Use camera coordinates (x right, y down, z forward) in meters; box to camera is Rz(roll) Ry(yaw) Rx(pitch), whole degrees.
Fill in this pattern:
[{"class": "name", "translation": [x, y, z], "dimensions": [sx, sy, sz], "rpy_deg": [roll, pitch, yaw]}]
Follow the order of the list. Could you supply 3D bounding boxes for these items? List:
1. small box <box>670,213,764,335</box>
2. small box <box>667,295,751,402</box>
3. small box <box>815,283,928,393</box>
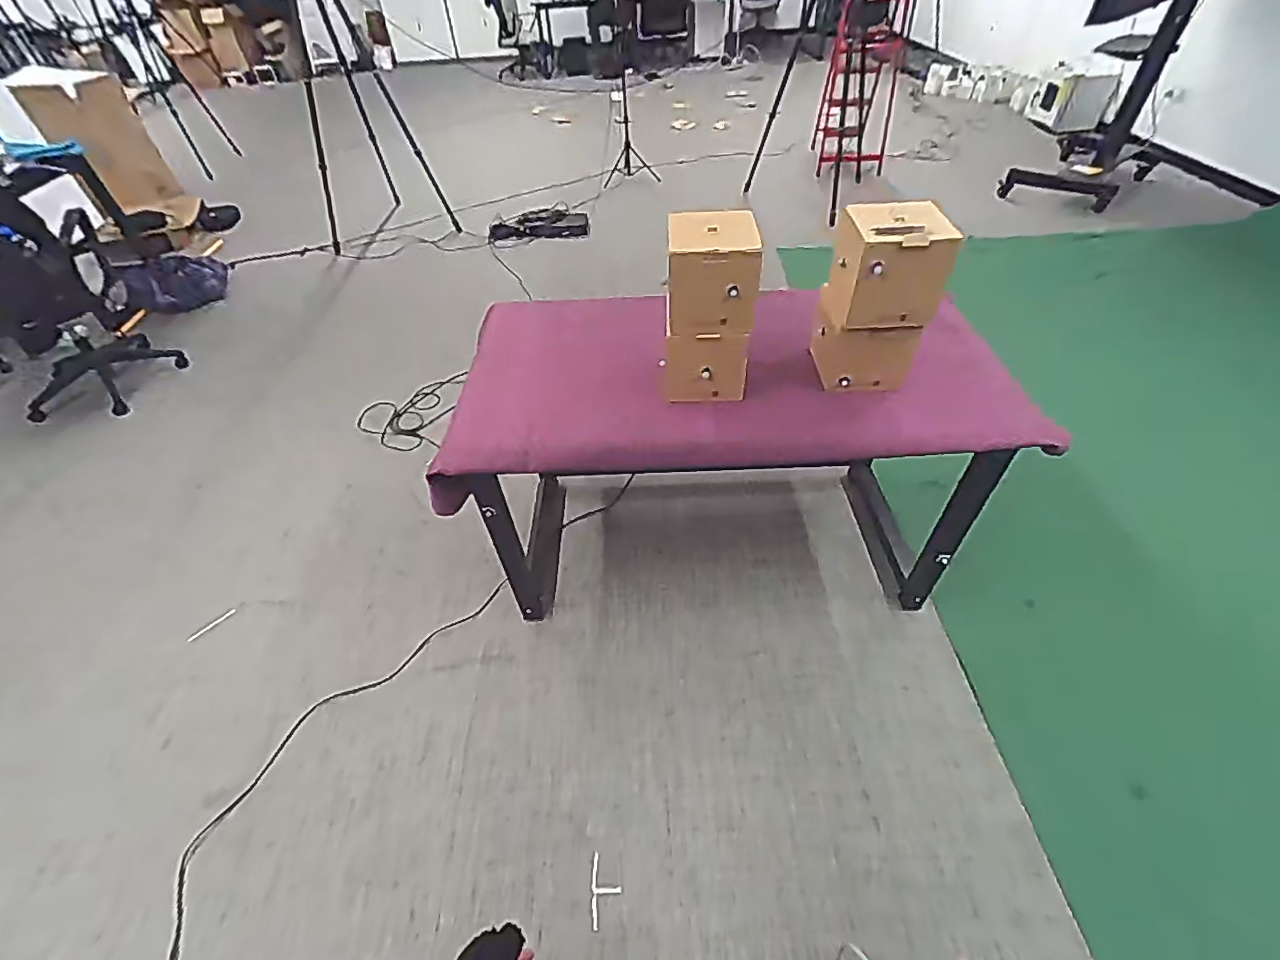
[{"class": "small box", "translation": [0.143, -0.395, 1.049], "dimensions": [0.168, 0.176, 0.179], "rpy_deg": [0, 47, 3]}, {"class": "small box", "translation": [0.144, -0.282, 1.167], "dimensions": [0.168, 0.176, 0.179], "rpy_deg": [0, 47, 4]}, {"class": "small box", "translation": [0.485, -0.302, 1.161], "dimensions": [0.168, 0.176, 0.179], "rpy_deg": [2, 47, 3]}]
